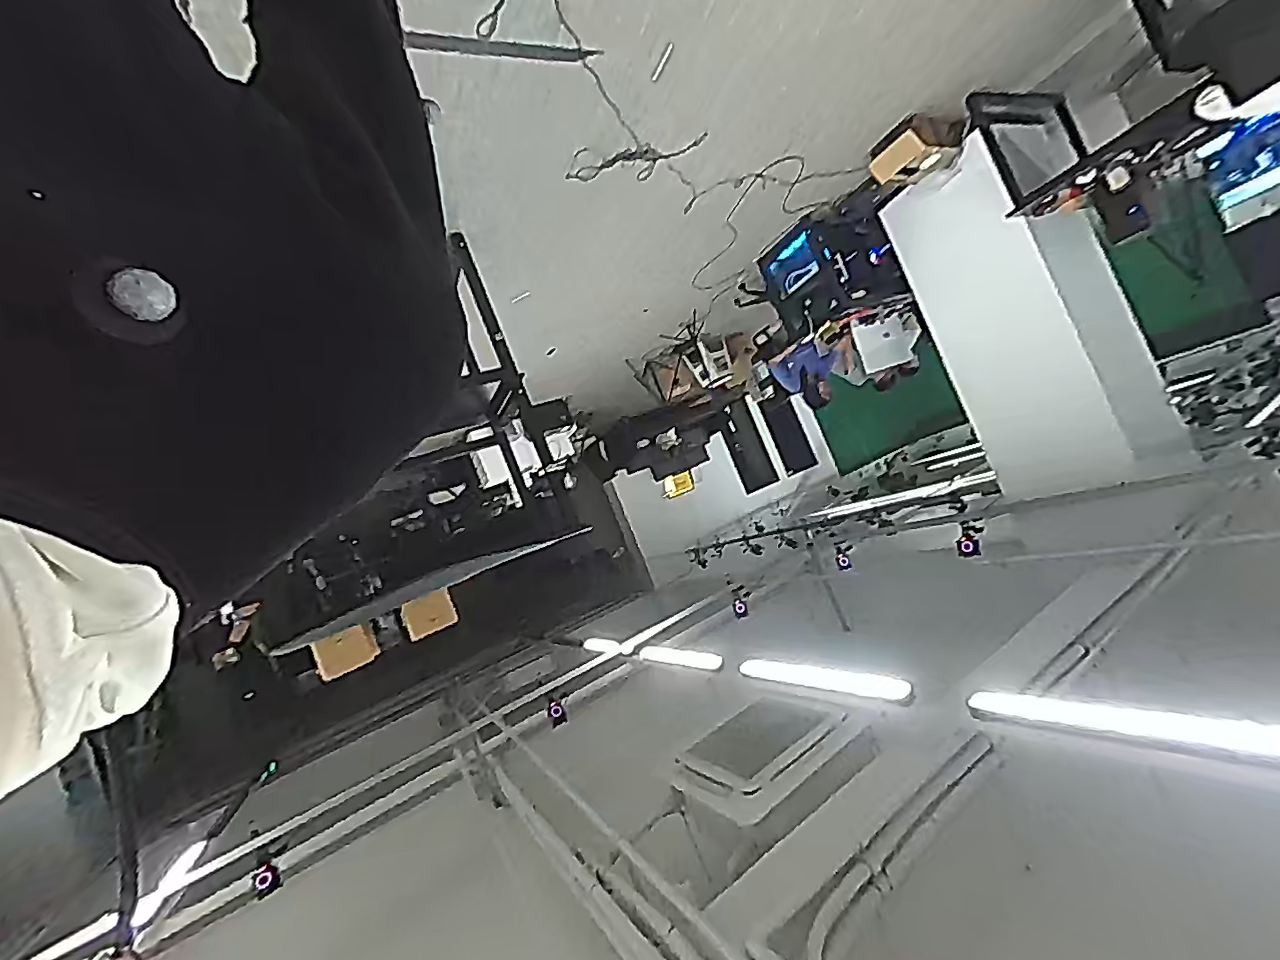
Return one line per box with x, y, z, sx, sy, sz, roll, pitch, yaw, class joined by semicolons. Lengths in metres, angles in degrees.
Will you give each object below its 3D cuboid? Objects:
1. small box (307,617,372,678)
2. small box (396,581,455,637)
-1.141;0.631;2.048;0.168;0.176;0.179;-22;177;-36;small box
-0.882;0.528;2.214;0.179;0.176;0.168;-22;177;-29;small box
